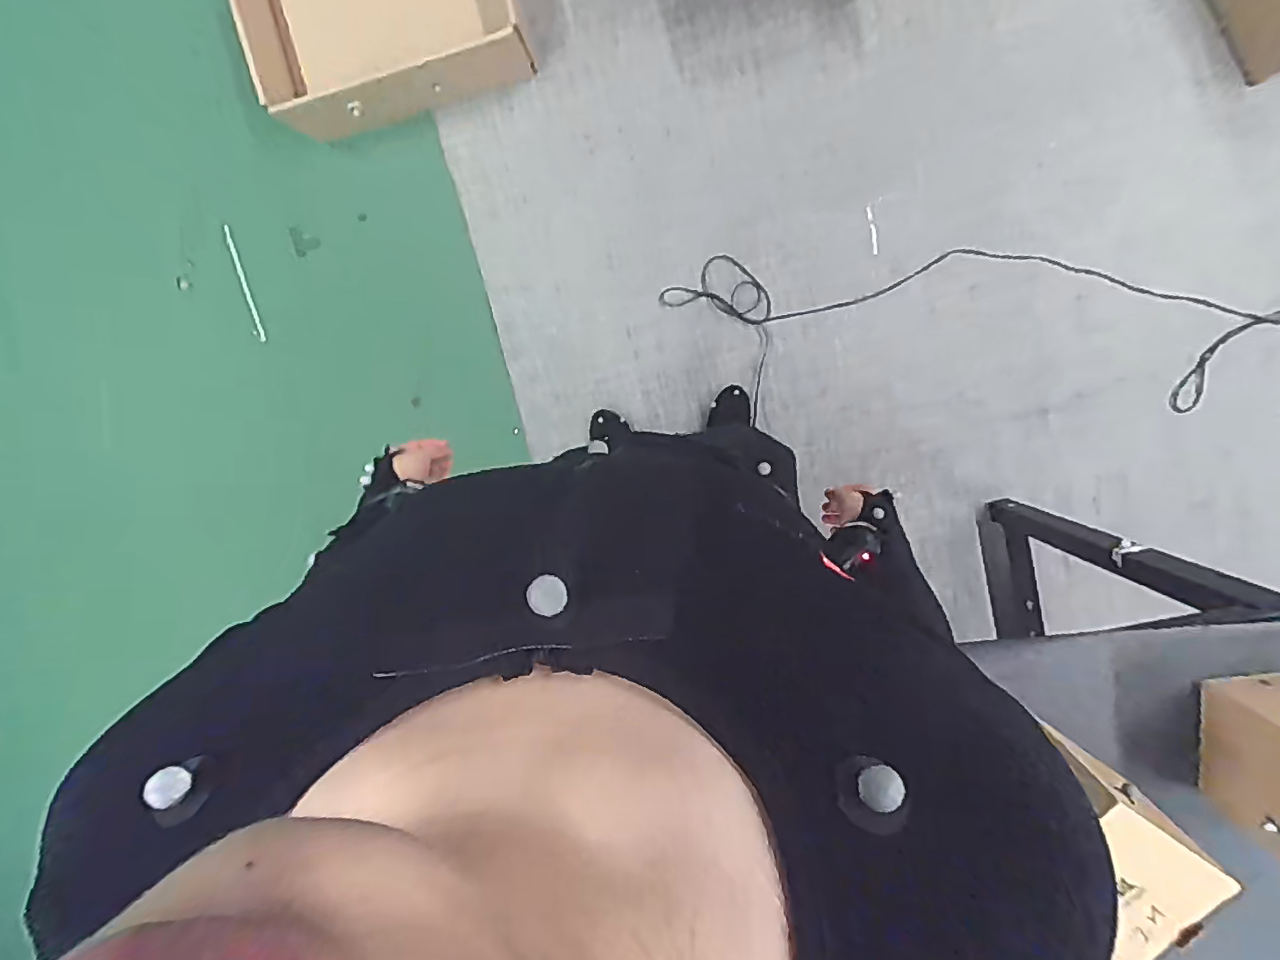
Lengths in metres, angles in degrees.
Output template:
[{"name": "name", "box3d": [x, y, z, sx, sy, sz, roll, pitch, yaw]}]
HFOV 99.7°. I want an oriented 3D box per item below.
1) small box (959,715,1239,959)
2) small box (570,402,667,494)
[{"name": "small box", "box3d": [0.563, 0.439, 0.697, 0.179, 0.176, 0.168, 34, 101, -2]}, {"name": "small box", "box3d": [-0.051, -0.076, 1.377, 0.176, 0.168, 0.179, 21, 75, -26]}]
